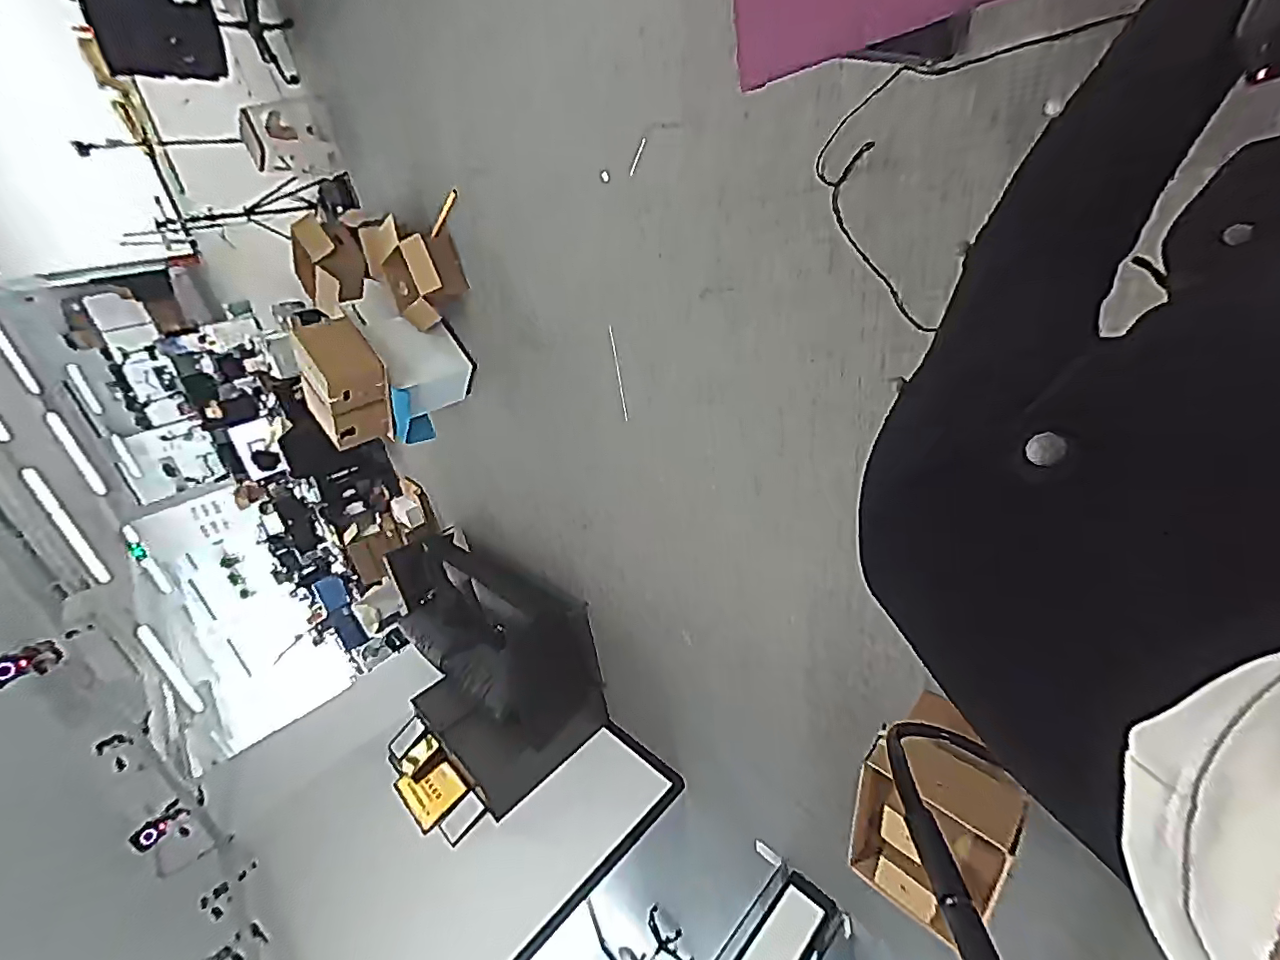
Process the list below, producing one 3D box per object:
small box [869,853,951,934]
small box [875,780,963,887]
[{"bbox_3d":[0.861,1.270,1.723,0.179,0.176,0.168,24,129,40],"label":"small box"},{"bbox_3d":[0.824,1.033,1.603,0.179,0.176,0.168,19,128,41],"label":"small box"}]
